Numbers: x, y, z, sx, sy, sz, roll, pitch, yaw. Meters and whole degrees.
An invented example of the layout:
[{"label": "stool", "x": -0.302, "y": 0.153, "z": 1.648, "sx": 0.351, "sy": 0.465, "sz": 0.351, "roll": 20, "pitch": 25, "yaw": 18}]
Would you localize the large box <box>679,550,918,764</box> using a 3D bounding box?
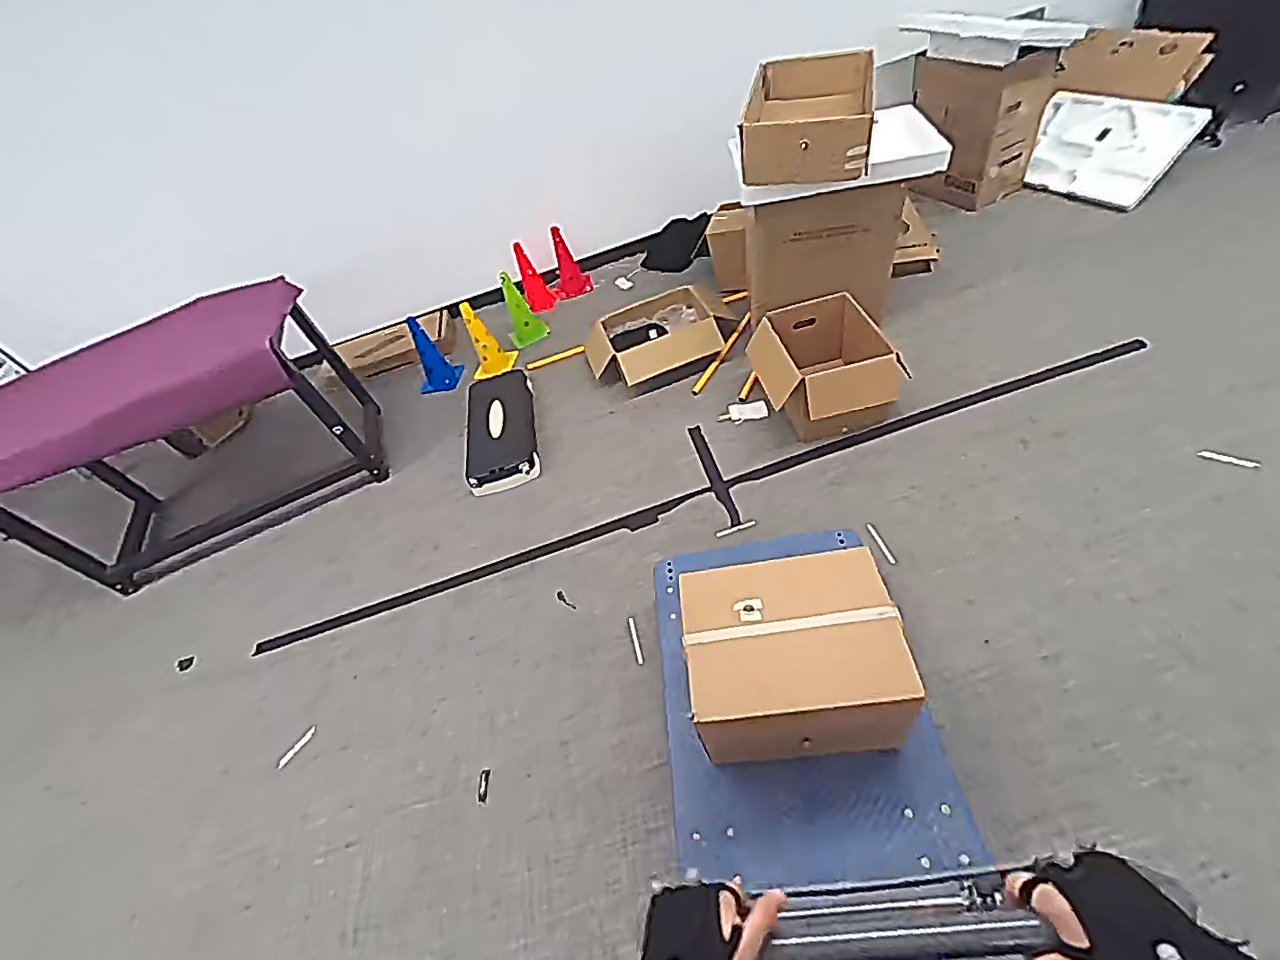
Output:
[{"label": "large box", "x": 0.322, "y": 0.394, "z": 1.178, "sx": 0.408, "sy": 0.320, "sz": 0.320, "roll": -11, "pitch": 47, "yaw": 8}]
